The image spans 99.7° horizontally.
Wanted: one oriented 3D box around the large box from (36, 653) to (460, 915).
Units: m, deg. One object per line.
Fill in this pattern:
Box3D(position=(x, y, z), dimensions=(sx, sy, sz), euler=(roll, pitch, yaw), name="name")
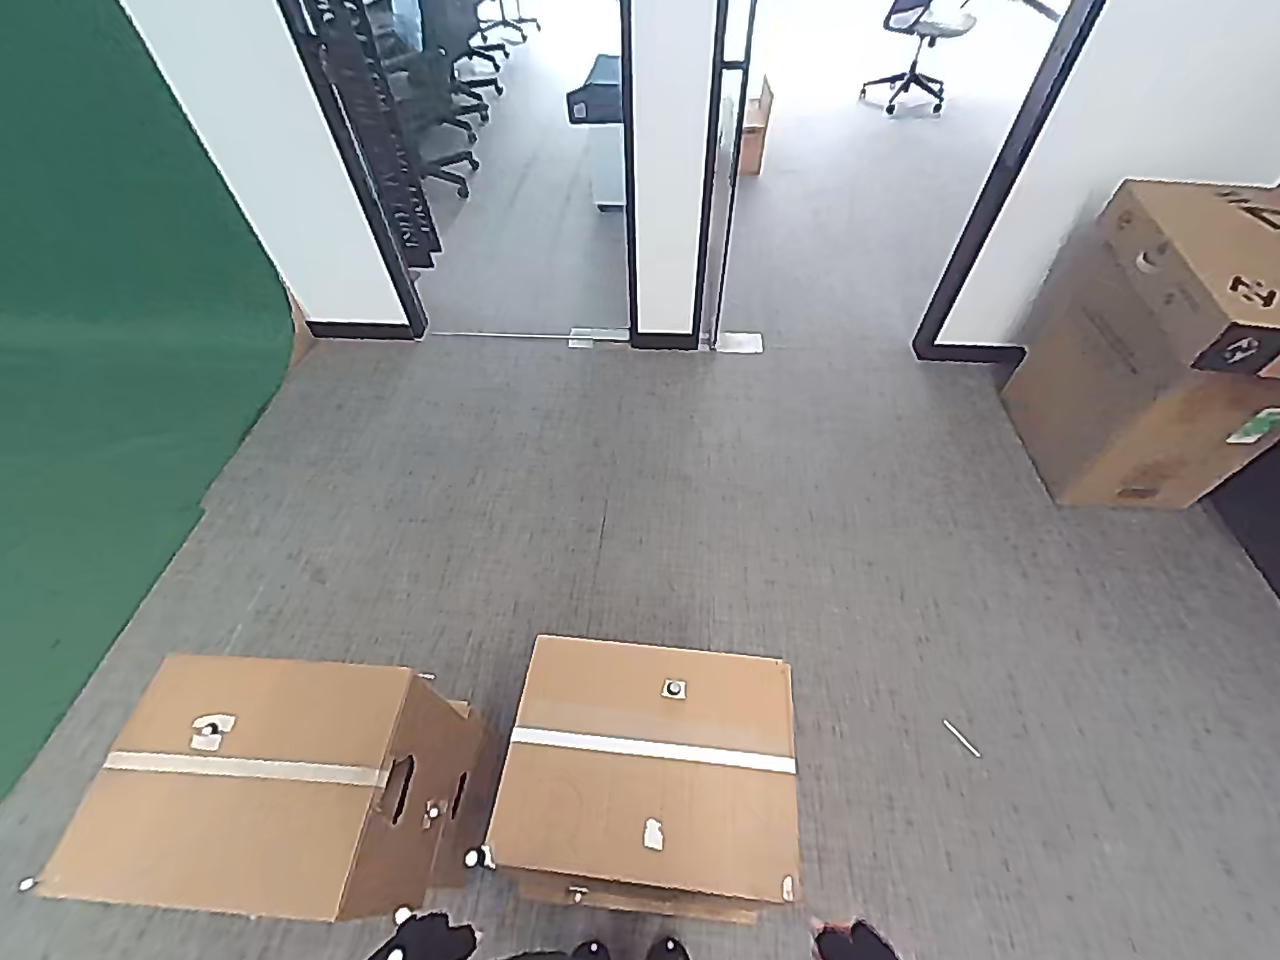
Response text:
Box3D(position=(-0.563, 0.491, 0.887), dimensions=(0.408, 0.320, 0.320), euler=(2, 54, 4), name="large box")
